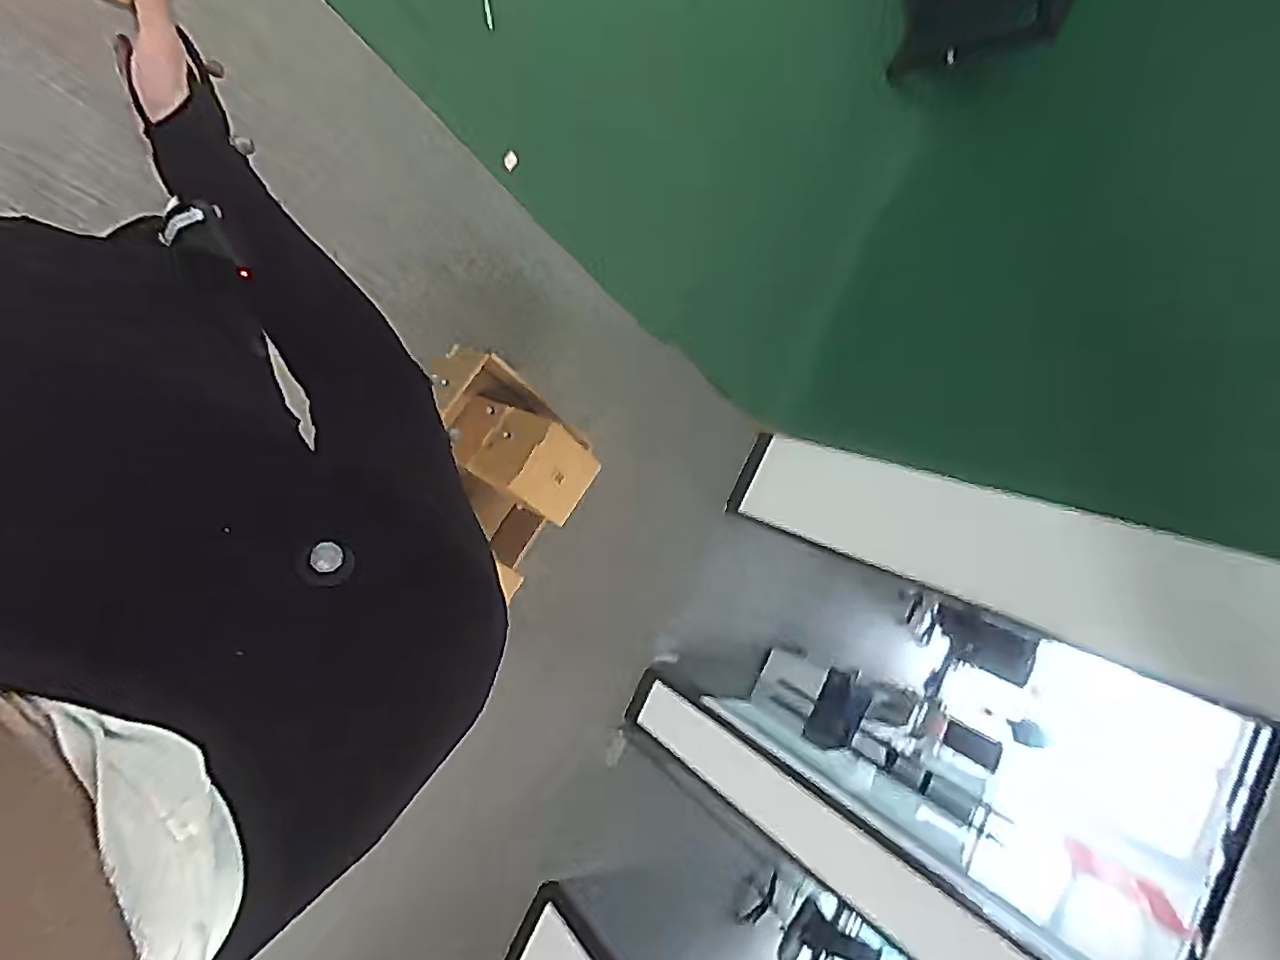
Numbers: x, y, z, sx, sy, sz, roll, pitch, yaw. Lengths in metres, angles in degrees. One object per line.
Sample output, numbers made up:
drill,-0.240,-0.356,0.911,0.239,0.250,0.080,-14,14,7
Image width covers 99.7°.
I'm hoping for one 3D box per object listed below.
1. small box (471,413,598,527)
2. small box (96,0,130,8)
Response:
small box,-0.233,-0.027,1.191,0.168,0.176,0.179,-56,136,-12
small box,-0.446,-0.461,0.357,0.168,0.176,0.179,2,120,-43
